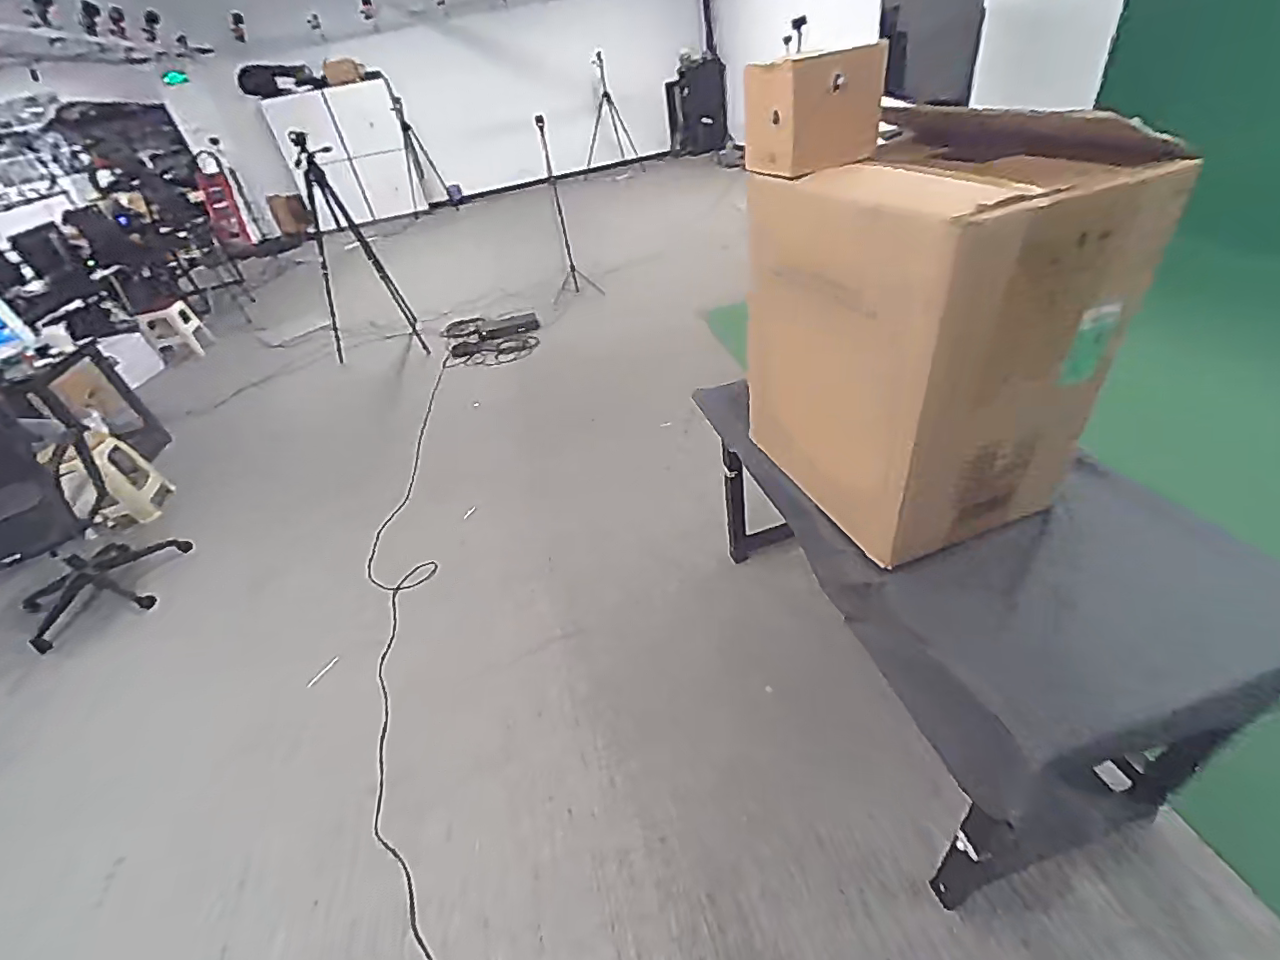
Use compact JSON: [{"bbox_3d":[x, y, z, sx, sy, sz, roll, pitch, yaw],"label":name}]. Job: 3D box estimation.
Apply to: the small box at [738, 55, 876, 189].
[{"bbox_3d":[0.292,-0.636,0.969,0.179,0.176,0.168,-18,37,-10],"label":"small box"}]
